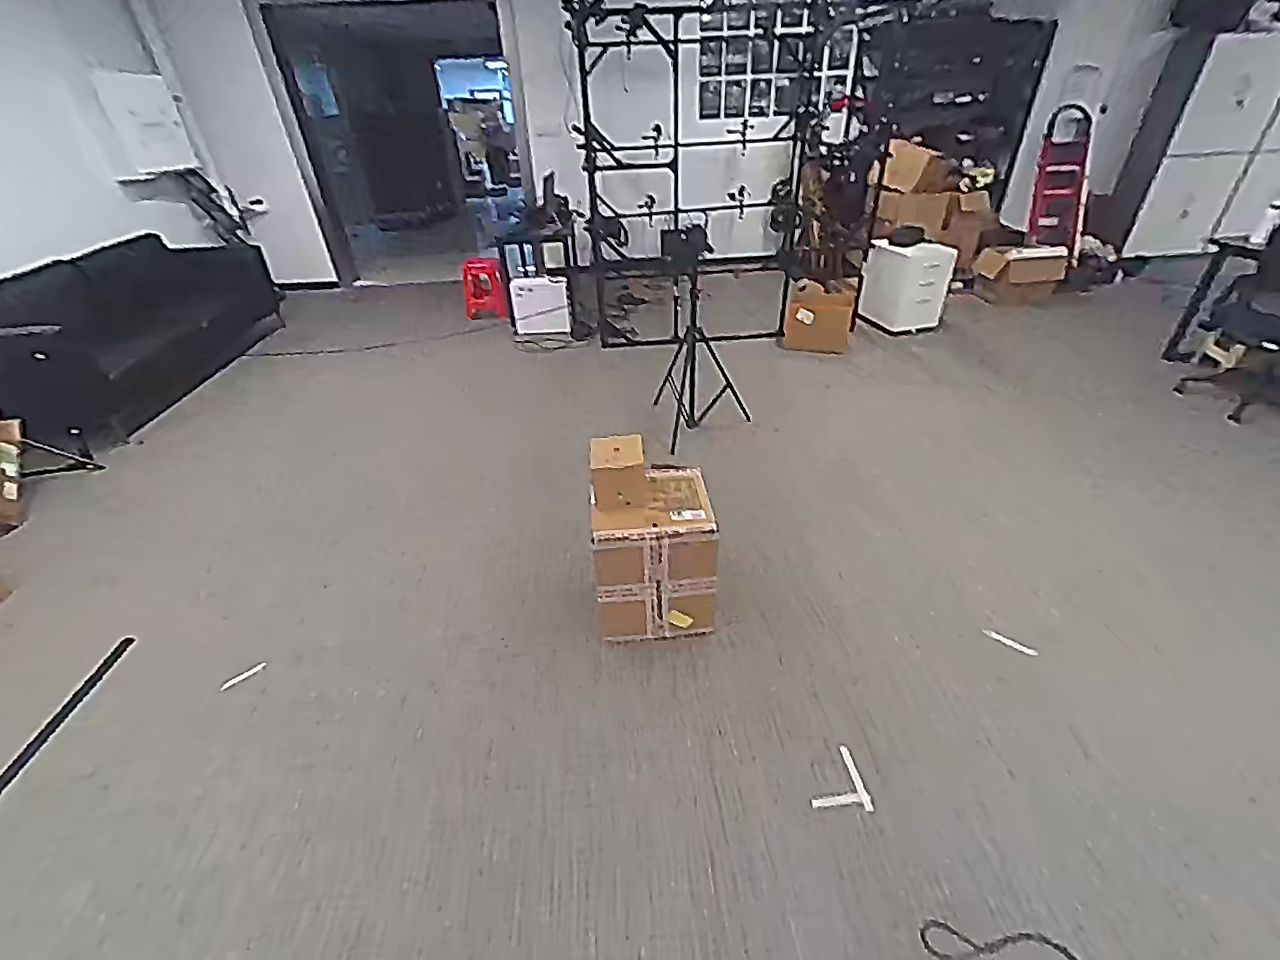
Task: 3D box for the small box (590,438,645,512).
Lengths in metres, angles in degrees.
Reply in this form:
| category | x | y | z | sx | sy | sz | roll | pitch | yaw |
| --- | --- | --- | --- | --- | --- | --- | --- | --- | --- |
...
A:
| category | x | y | z | sx | sy | sz | roll | pitch | yaw |
| --- | --- | --- | --- | --- | --- | --- | --- | --- | --- |
| small box | -0.072 | -0.016 | 1.758 | 0.168 | 0.176 | 0.179 | -5 | 36 | -1 |
